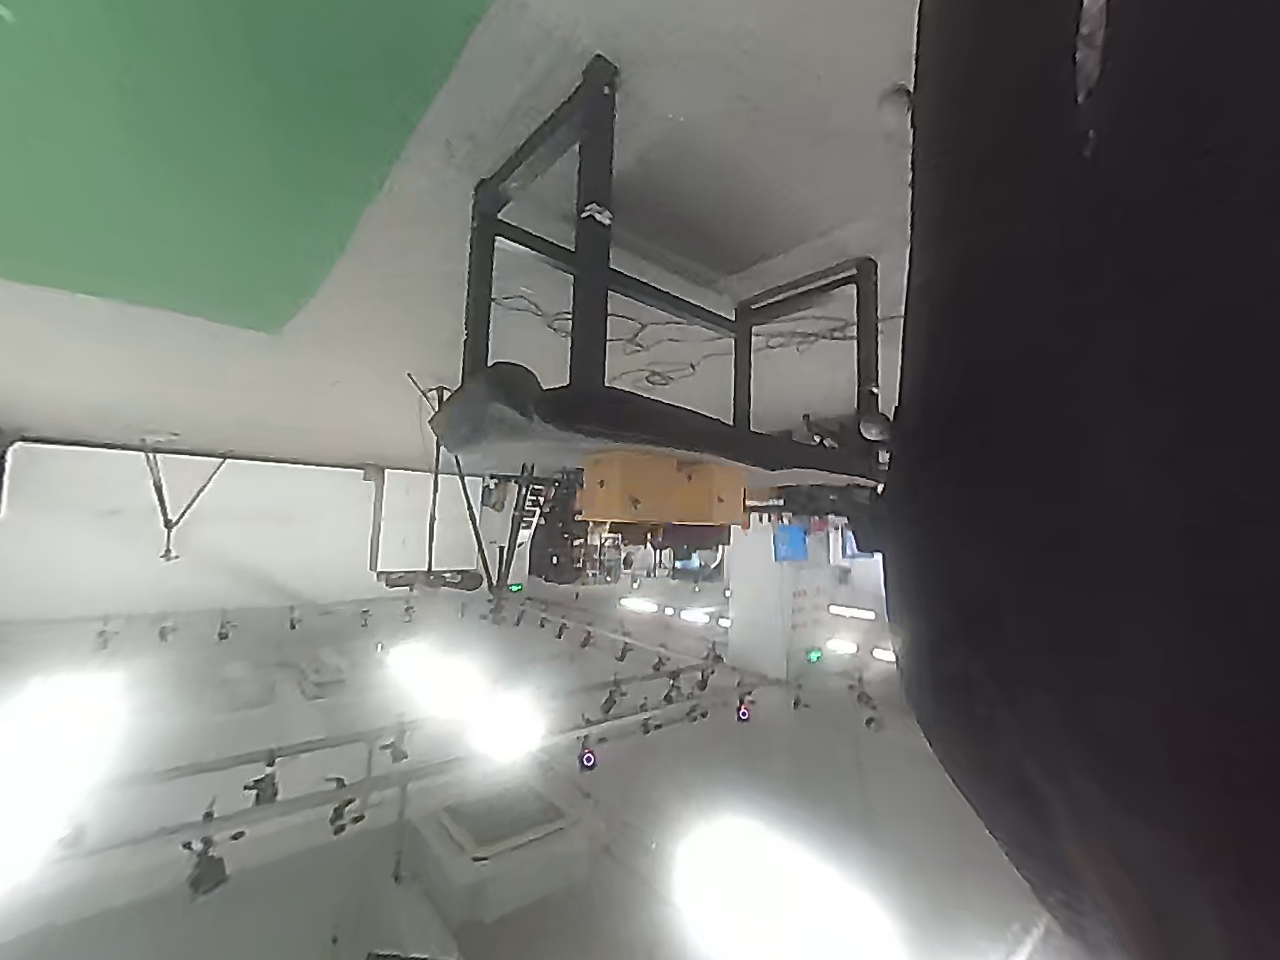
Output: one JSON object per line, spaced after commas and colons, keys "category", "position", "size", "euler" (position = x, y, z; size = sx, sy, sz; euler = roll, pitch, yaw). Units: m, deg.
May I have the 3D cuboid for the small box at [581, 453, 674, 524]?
{"category": "small box", "position": [-0.031, 0.024, 1.365], "size": [0.179, 0.176, 0.168], "euler": [6, 174, -39]}
